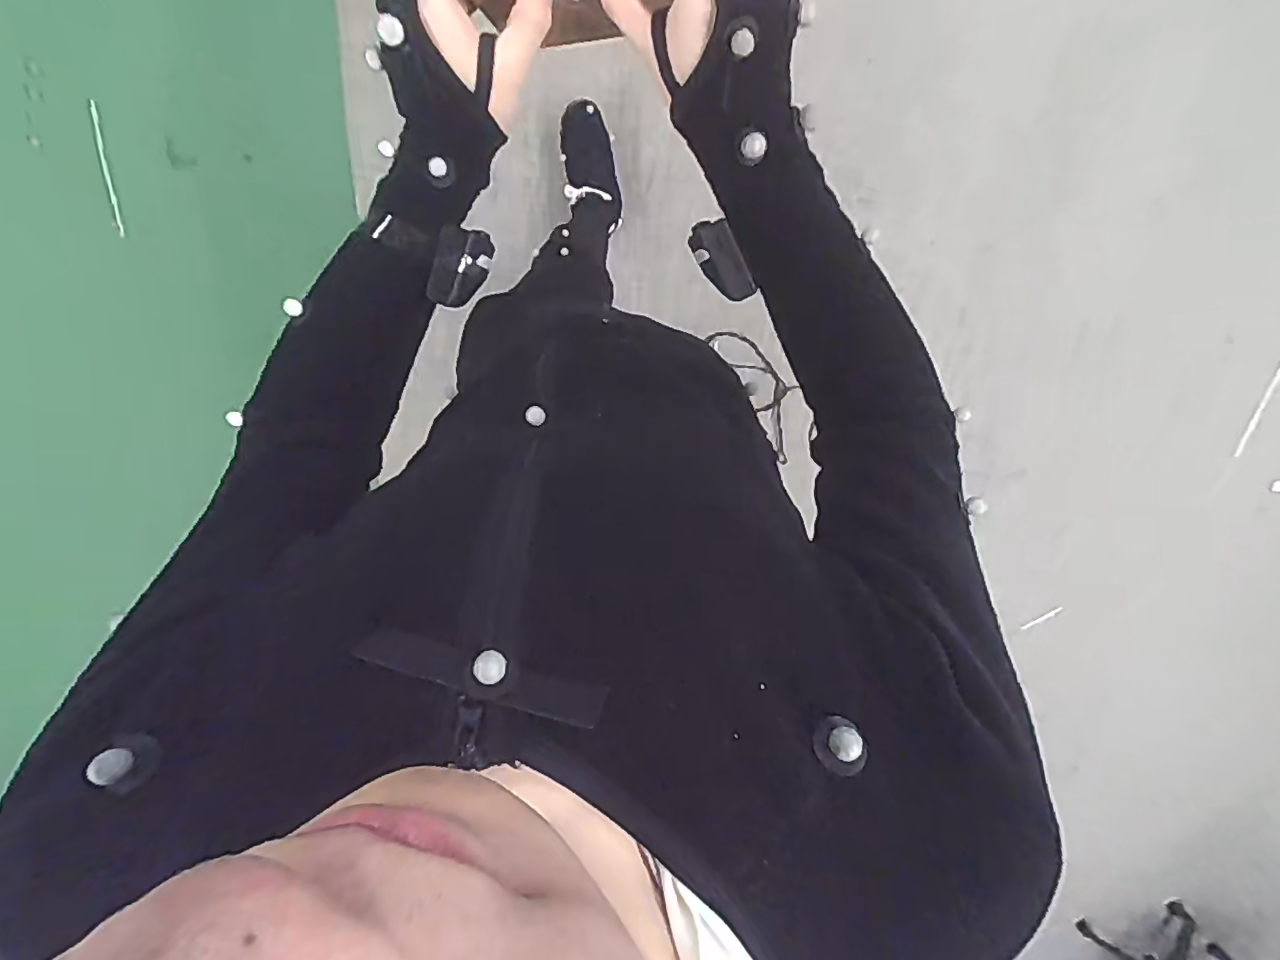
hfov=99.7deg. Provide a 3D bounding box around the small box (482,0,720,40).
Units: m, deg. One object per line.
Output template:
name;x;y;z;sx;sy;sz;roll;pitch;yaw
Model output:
small box;-0.037;-0.396;0.313;0.168;0.176;0.179;2;103;11
